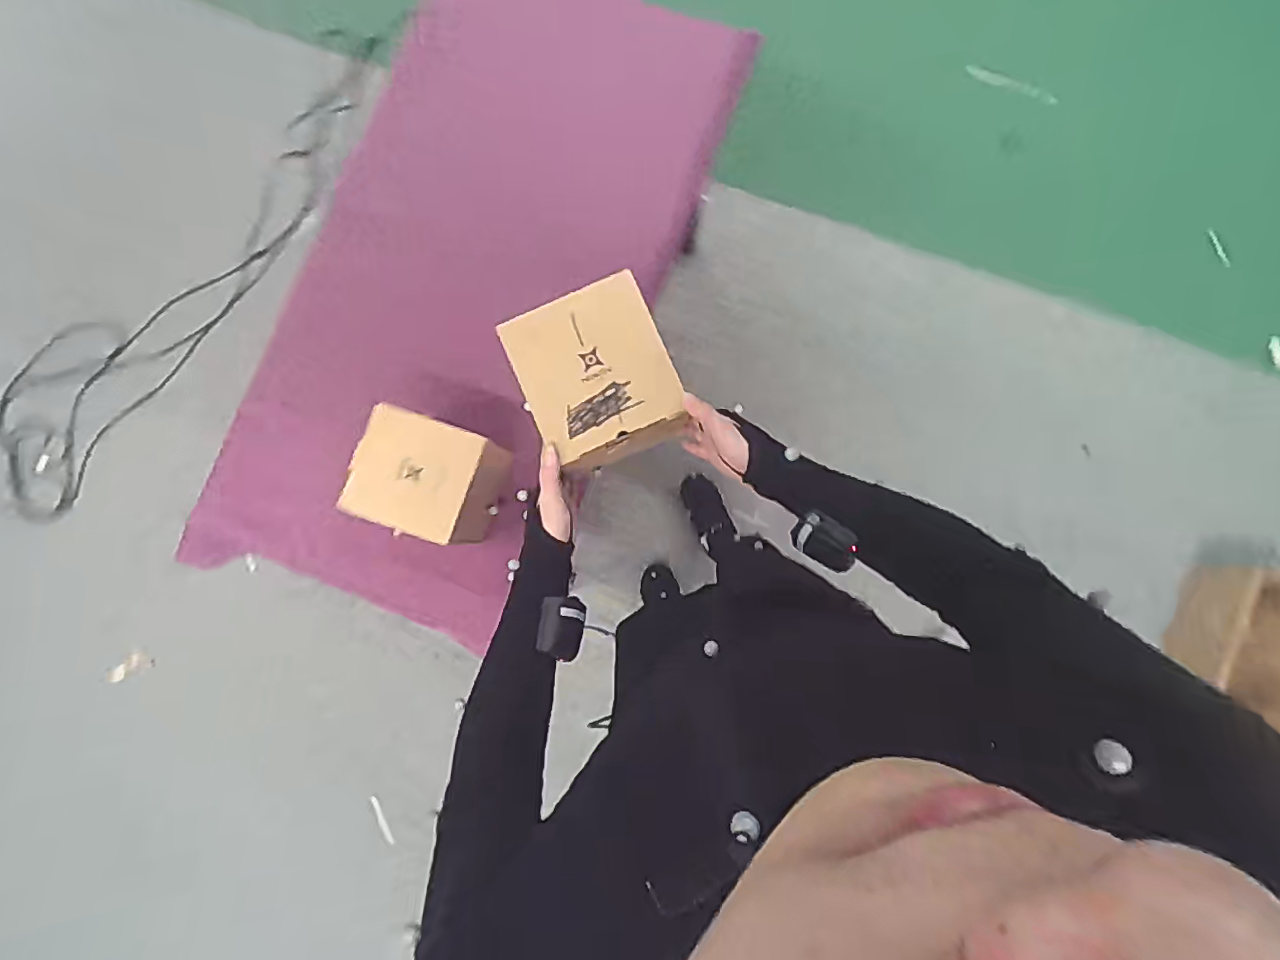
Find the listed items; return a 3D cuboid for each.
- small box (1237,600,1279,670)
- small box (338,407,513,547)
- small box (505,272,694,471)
[{"bbox_3d":[1.757,0.426,1.414,0.179,0.176,0.168,25,85,3],"label":"small box"},{"bbox_3d":[-0.325,0.003,0.856,0.179,0.176,0.168,18,85,3],"label":"small box"},{"bbox_3d":[-0.041,-0.118,0.672,0.168,0.176,0.179,-23,85,0],"label":"small box"}]
